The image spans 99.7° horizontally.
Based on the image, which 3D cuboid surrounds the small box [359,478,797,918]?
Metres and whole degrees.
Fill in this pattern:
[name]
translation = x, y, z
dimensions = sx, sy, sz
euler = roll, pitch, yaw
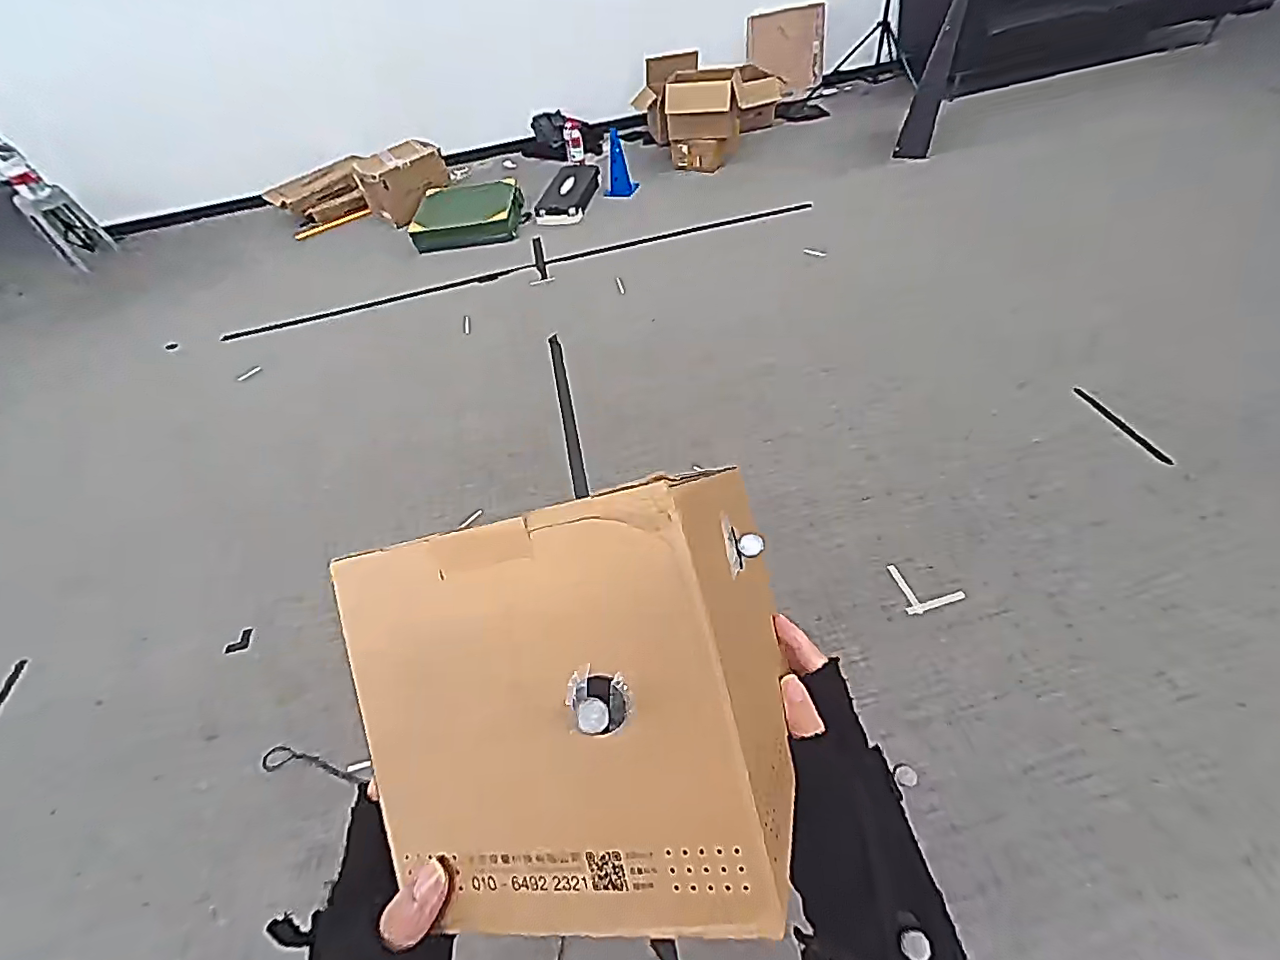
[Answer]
[small box]
translation = -0.014, 0.103, 0.308
dimensions = 0.168, 0.179, 0.176
euler = -14, 88, 19
